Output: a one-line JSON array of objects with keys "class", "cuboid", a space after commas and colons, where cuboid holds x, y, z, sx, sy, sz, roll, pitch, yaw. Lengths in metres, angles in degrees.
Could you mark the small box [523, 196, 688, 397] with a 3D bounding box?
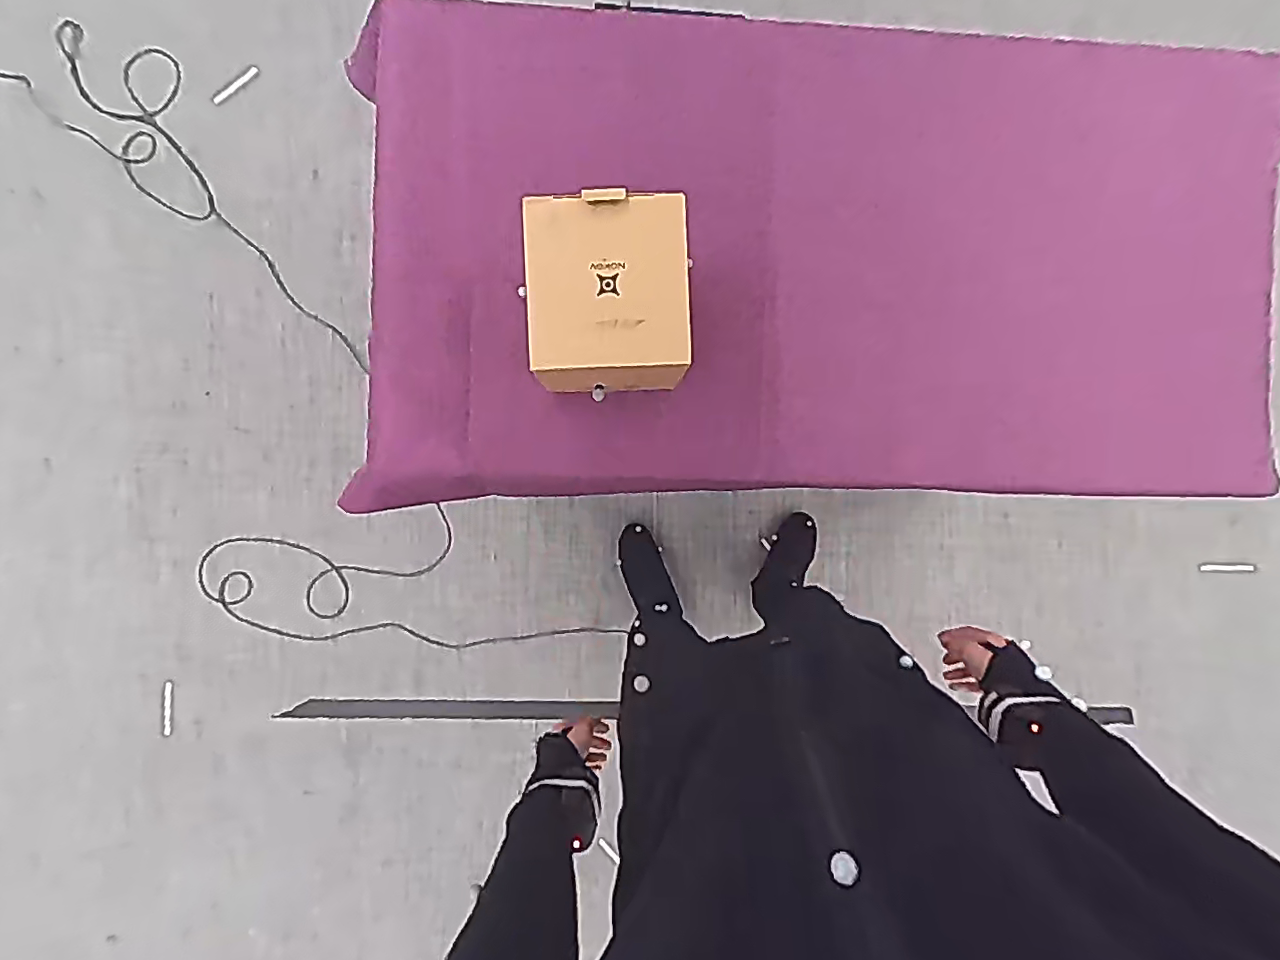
[{"class": "small box", "cuboid": [-0.038, -0.195, 0.618, 0.168, 0.176, 0.179, -2, 91, -2]}]
